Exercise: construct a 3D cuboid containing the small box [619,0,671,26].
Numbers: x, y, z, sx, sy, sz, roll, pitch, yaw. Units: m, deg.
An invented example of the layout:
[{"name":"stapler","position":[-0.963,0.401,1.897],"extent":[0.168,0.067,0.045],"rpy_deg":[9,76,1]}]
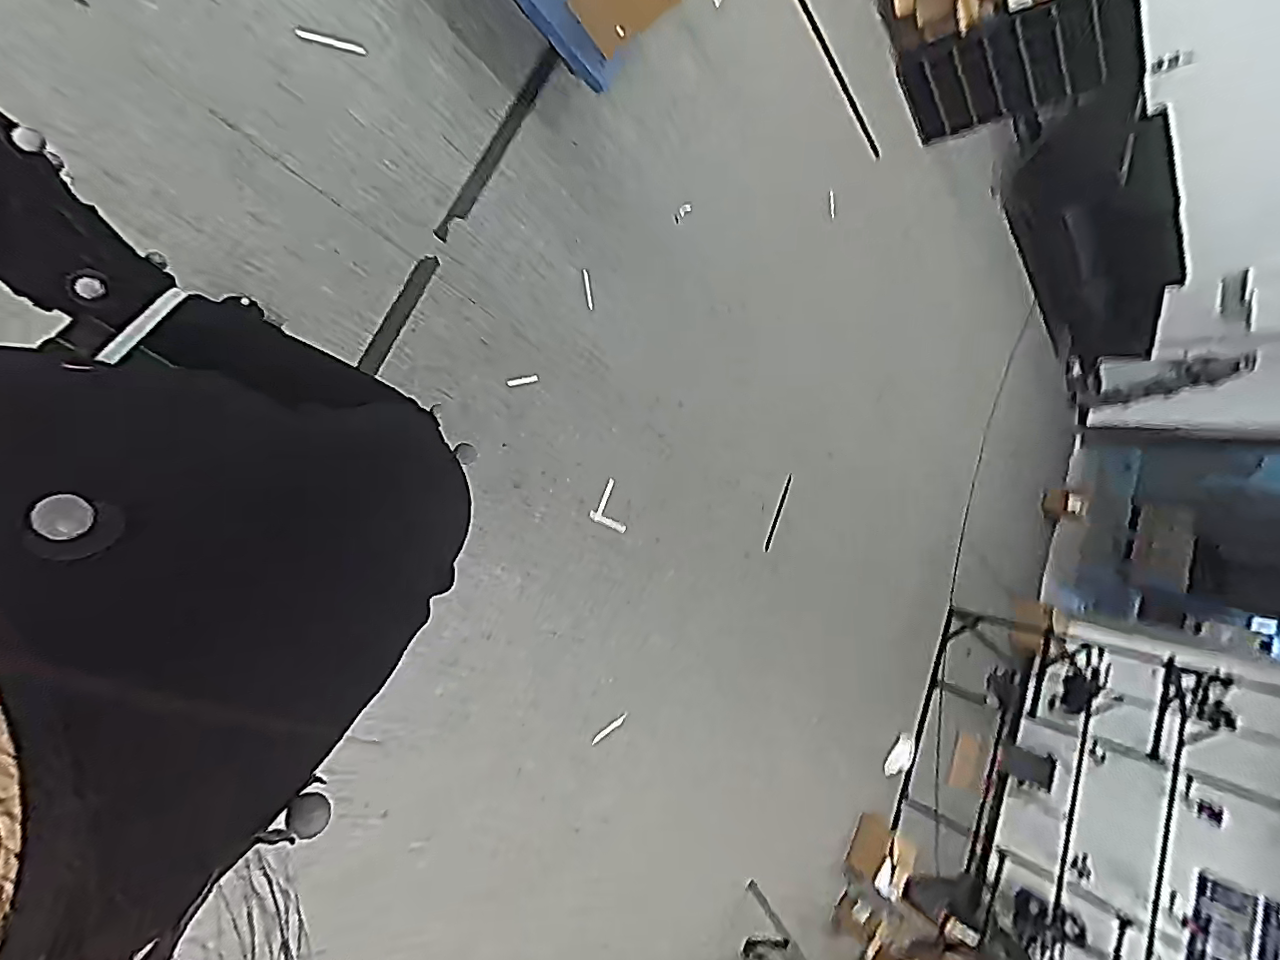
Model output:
[{"name":"small box","position":[0.026,-1.280,1.323],"extent":[0.179,0.176,0.168],"rpy_deg":[39,70,-37]}]
